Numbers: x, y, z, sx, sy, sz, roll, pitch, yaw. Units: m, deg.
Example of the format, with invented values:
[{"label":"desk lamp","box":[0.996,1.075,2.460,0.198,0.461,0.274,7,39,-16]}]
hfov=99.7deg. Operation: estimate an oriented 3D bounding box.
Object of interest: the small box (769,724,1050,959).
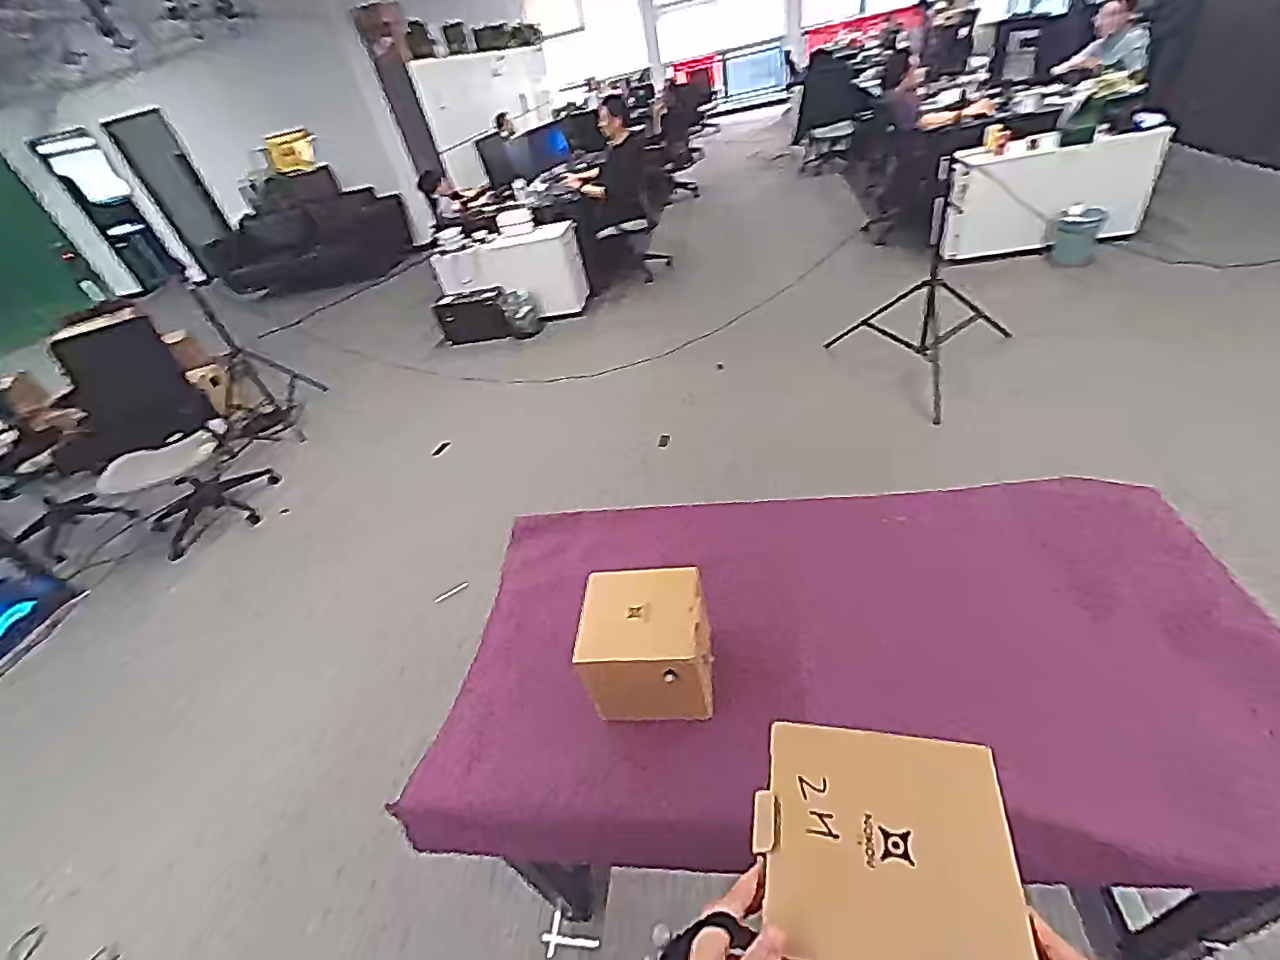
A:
[{"label":"small box","box":[0.209,0.335,0.456,0.179,0.176,0.168,-1,41,20]}]

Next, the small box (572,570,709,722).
[{"label":"small box","box":[0.010,0.262,0.849,0.179,0.176,0.168,-5,38,10]}]
